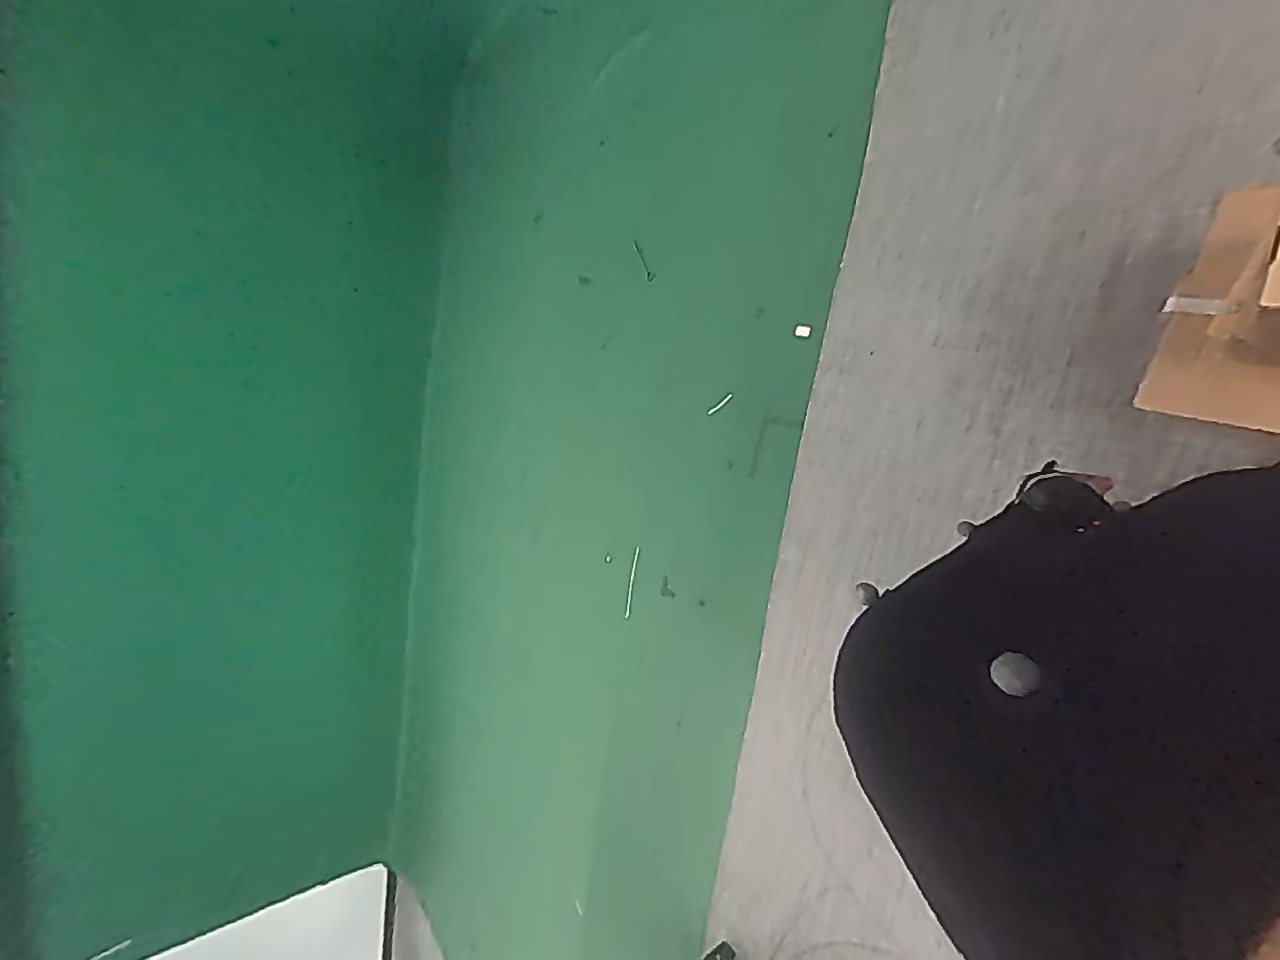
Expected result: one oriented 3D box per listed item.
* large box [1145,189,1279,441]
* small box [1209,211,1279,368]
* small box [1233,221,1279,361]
[{"bbox_3d":[1.028,-0.198,0.746,0.408,0.320,0.320,26,110,45],"label":"large box"},{"bbox_3d":[0.818,-0.213,0.620,0.179,0.176,0.168,34,115,43],"label":"small box"},{"bbox_3d":[0.704,-0.200,0.503,0.168,0.176,0.179,23,106,44],"label":"small box"}]
